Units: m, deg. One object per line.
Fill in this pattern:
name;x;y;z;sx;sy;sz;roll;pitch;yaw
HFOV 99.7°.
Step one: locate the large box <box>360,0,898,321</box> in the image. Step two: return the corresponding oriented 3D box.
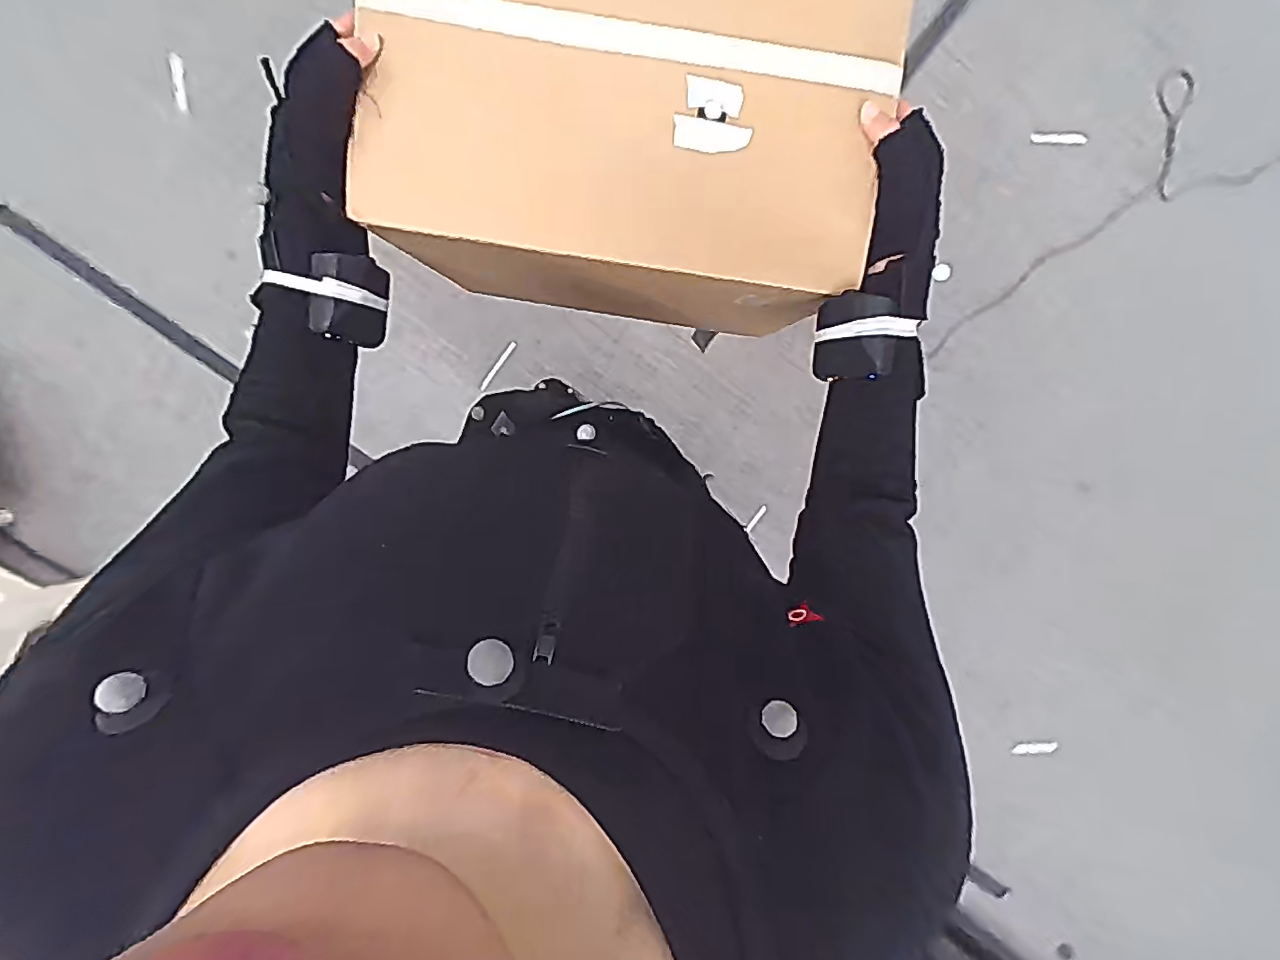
large box;-0.013;-0.360;0.556;0.408;0.320;0.320;7;100;-3
